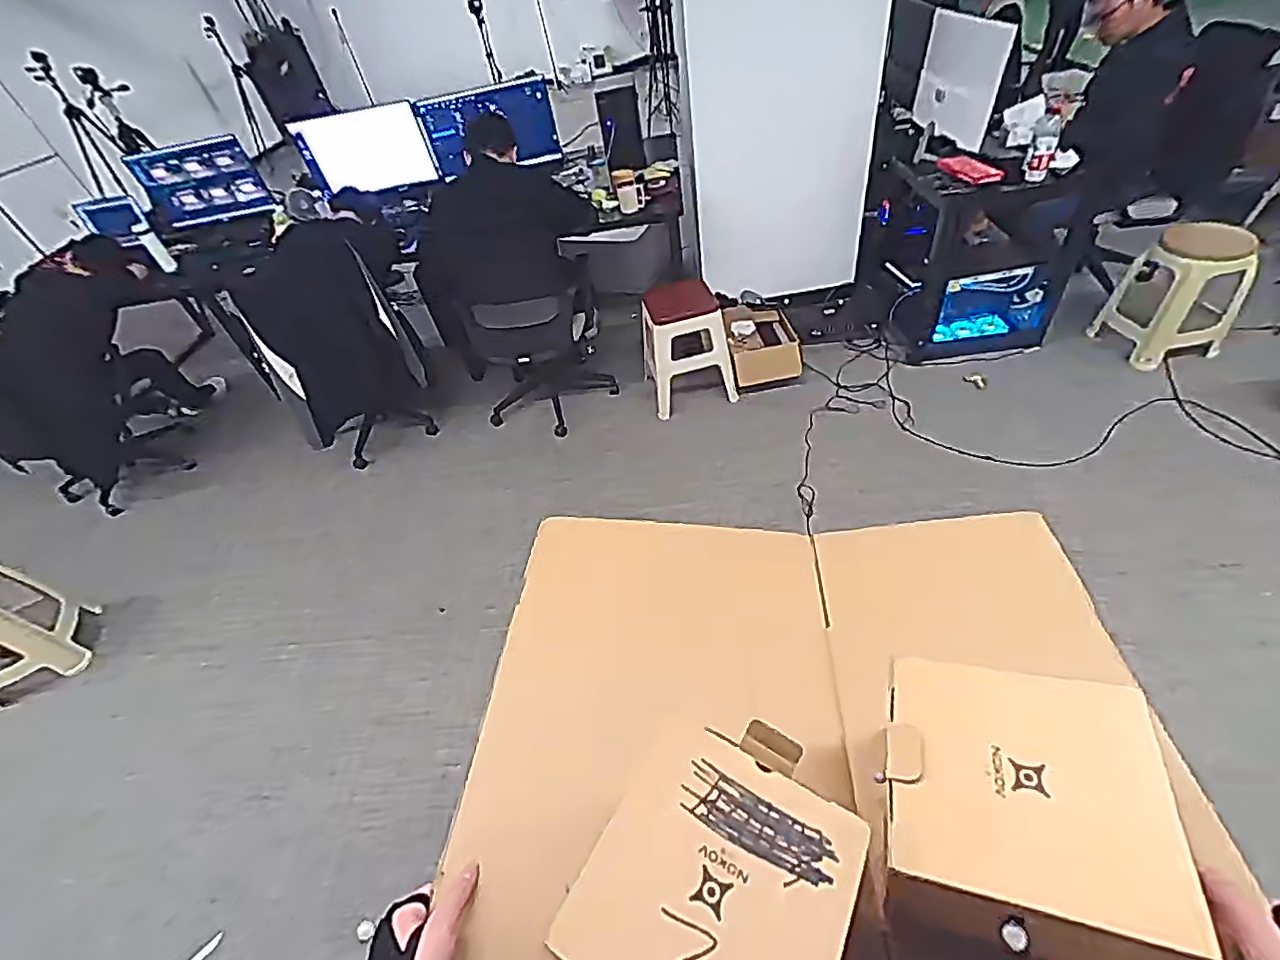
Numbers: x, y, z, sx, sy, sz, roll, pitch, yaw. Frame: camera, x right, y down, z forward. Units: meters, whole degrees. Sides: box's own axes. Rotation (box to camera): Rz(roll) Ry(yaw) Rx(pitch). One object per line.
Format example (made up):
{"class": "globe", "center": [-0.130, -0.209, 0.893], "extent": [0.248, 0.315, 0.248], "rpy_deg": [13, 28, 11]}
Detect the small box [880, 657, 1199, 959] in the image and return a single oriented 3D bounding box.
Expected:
{"class": "small box", "center": [0.303, 0.276, 0.458], "extent": [0.179, 0.176, 0.168], "rpy_deg": [1, 46, 25]}
